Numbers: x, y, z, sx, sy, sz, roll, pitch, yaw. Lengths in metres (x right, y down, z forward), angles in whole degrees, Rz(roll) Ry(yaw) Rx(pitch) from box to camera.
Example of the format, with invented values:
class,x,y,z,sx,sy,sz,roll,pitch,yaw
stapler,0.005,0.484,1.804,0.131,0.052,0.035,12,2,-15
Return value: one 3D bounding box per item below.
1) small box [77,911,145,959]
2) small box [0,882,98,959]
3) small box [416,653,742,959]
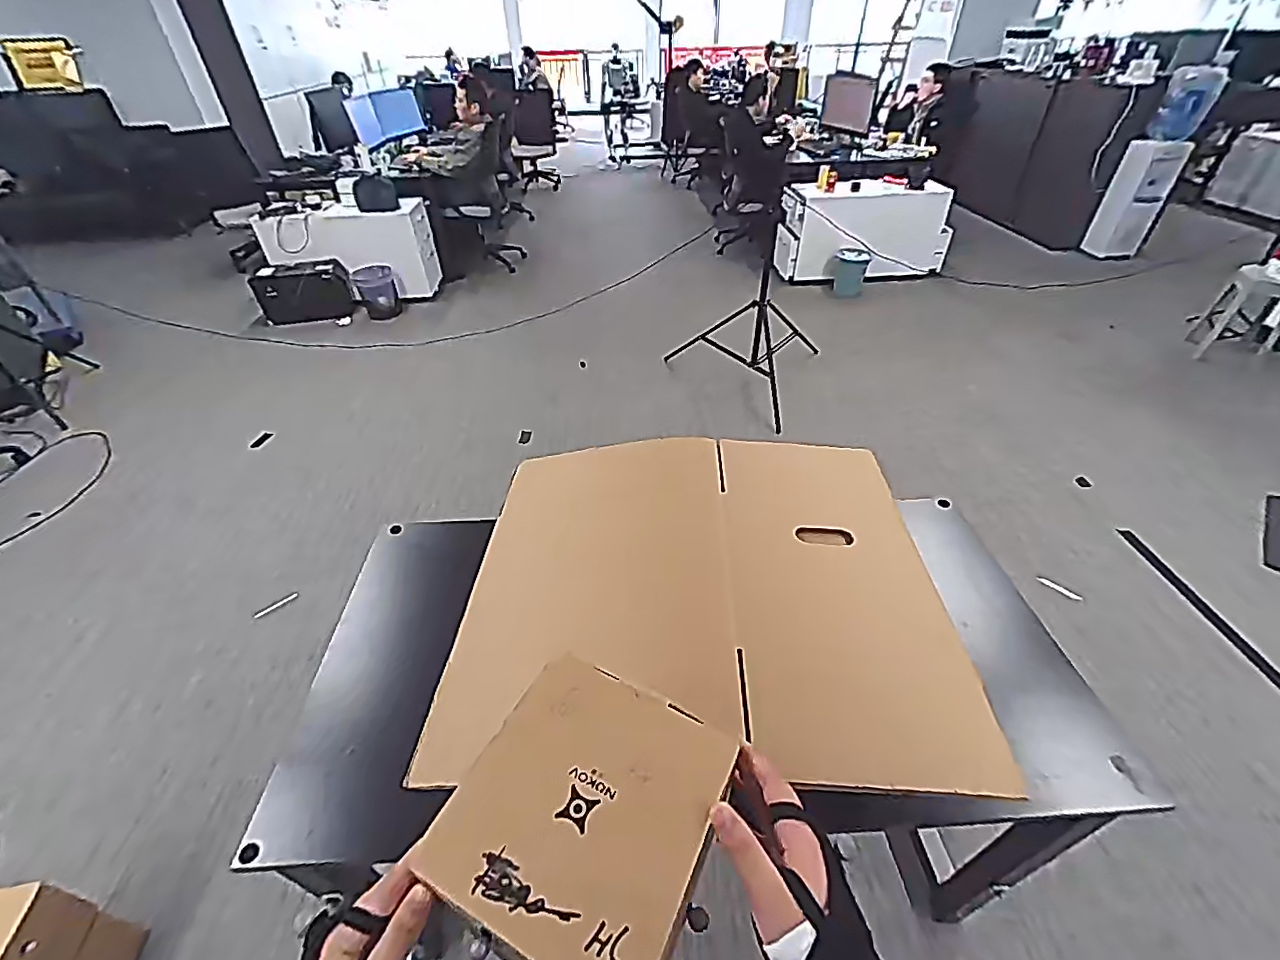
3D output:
class,x,y,z,sx,sy,sz,roll,pitch,yaw
small box,-1.160,1.003,1.084,0.168,0.176,0.179,-5,41,-4
small box,-1.166,0.875,0.984,0.168,0.176,0.179,-7,39,-7
small box,-0.034,0.280,0.423,0.168,0.176,0.179,17,42,23
